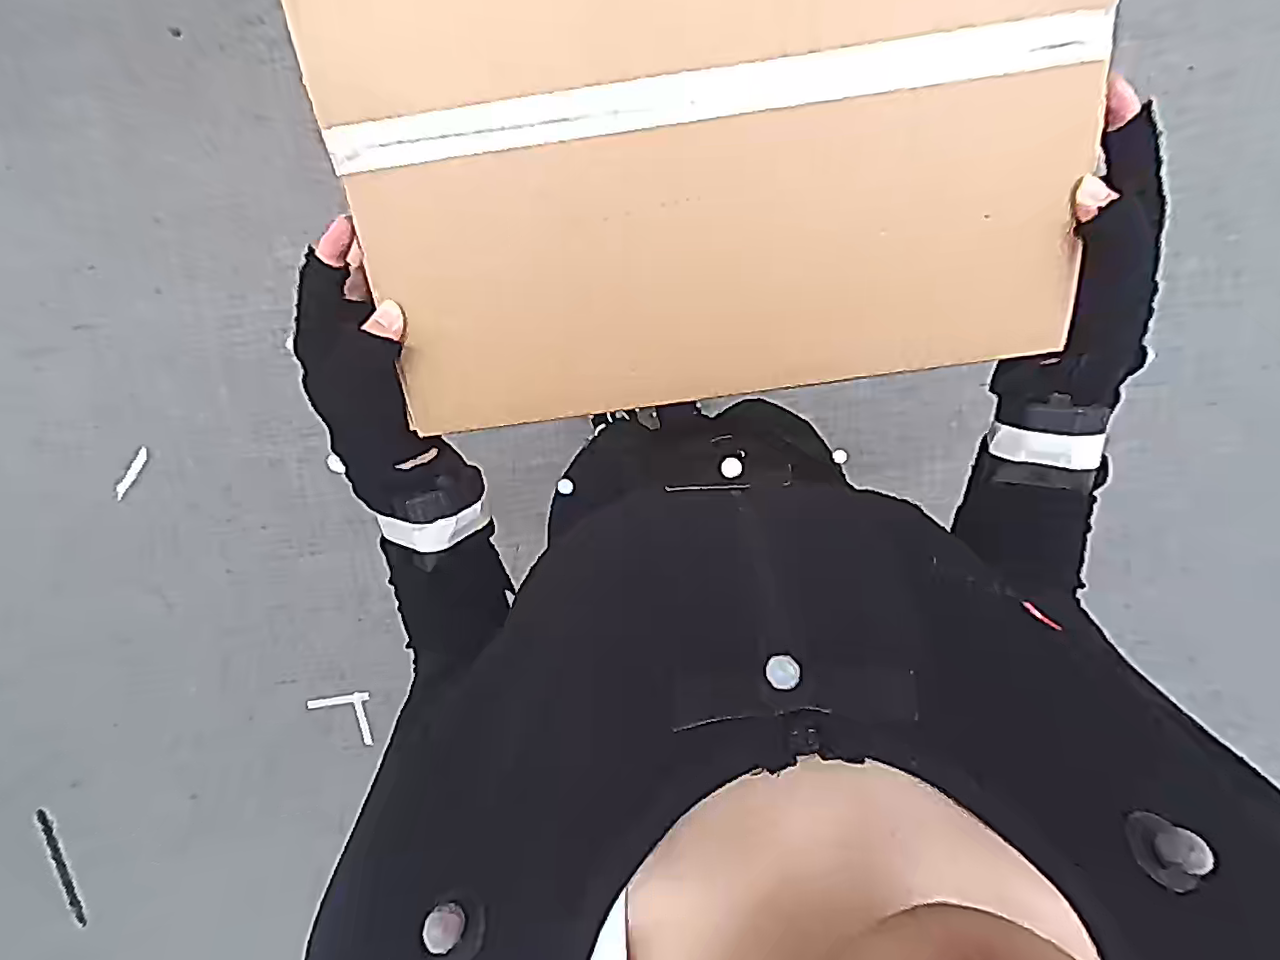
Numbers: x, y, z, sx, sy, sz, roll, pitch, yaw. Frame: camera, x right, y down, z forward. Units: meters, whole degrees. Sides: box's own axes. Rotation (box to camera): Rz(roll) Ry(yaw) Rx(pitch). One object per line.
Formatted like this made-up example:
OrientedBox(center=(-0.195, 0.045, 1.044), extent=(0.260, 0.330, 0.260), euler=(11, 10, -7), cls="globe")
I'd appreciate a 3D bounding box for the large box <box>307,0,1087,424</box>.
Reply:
OrientedBox(center=(0.032, -0.257, 0.432), extent=(0.408, 0.320, 0.320), euler=(-8, 112, 1), cls="large box")
